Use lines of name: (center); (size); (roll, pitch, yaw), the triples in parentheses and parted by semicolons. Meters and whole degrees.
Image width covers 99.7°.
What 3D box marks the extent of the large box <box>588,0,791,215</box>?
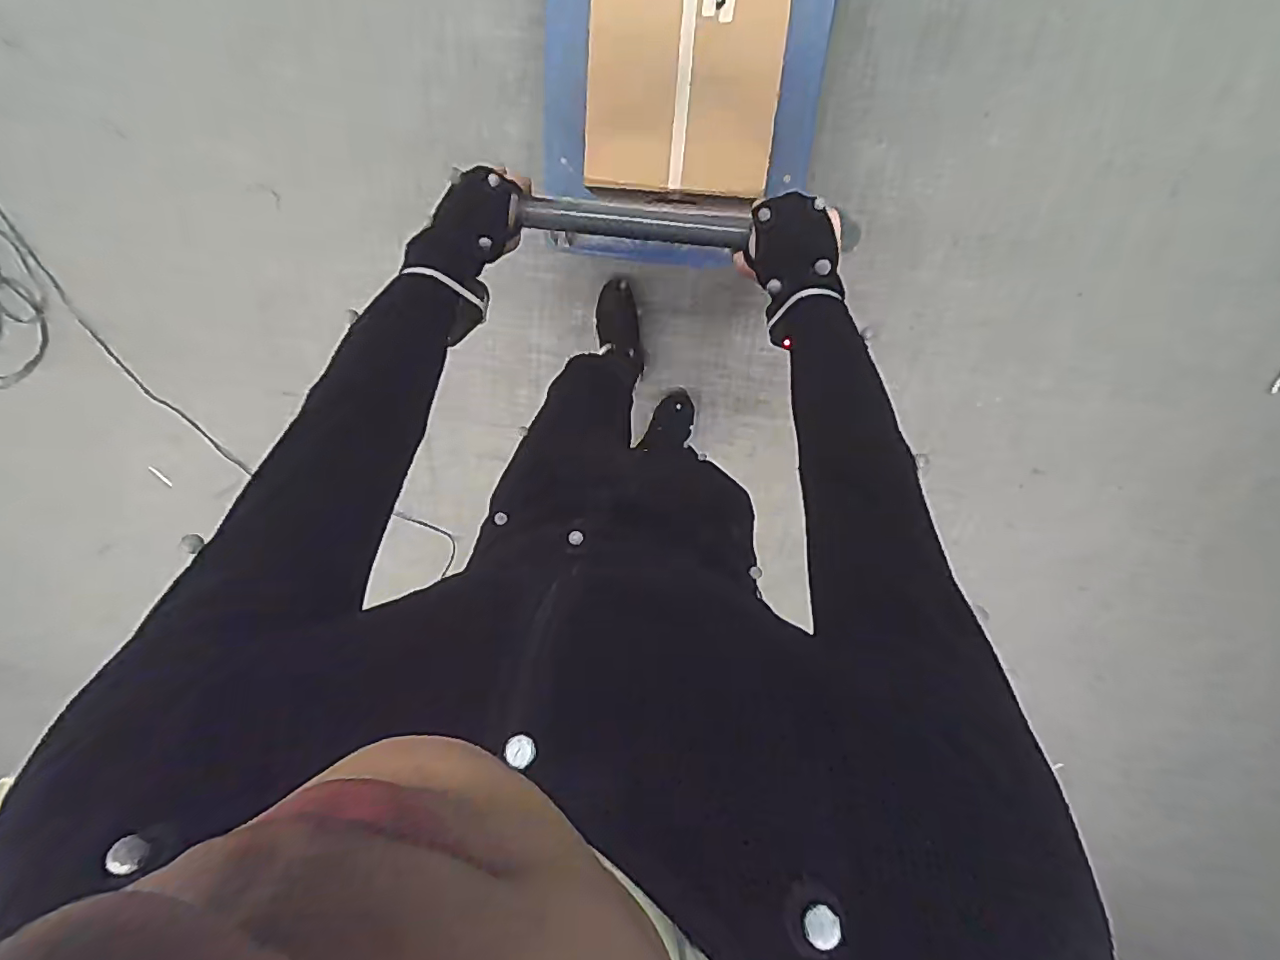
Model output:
large box: (0.090, -0.741, 1.013); (0.320, 0.320, 0.408); (6, 110, 3)
